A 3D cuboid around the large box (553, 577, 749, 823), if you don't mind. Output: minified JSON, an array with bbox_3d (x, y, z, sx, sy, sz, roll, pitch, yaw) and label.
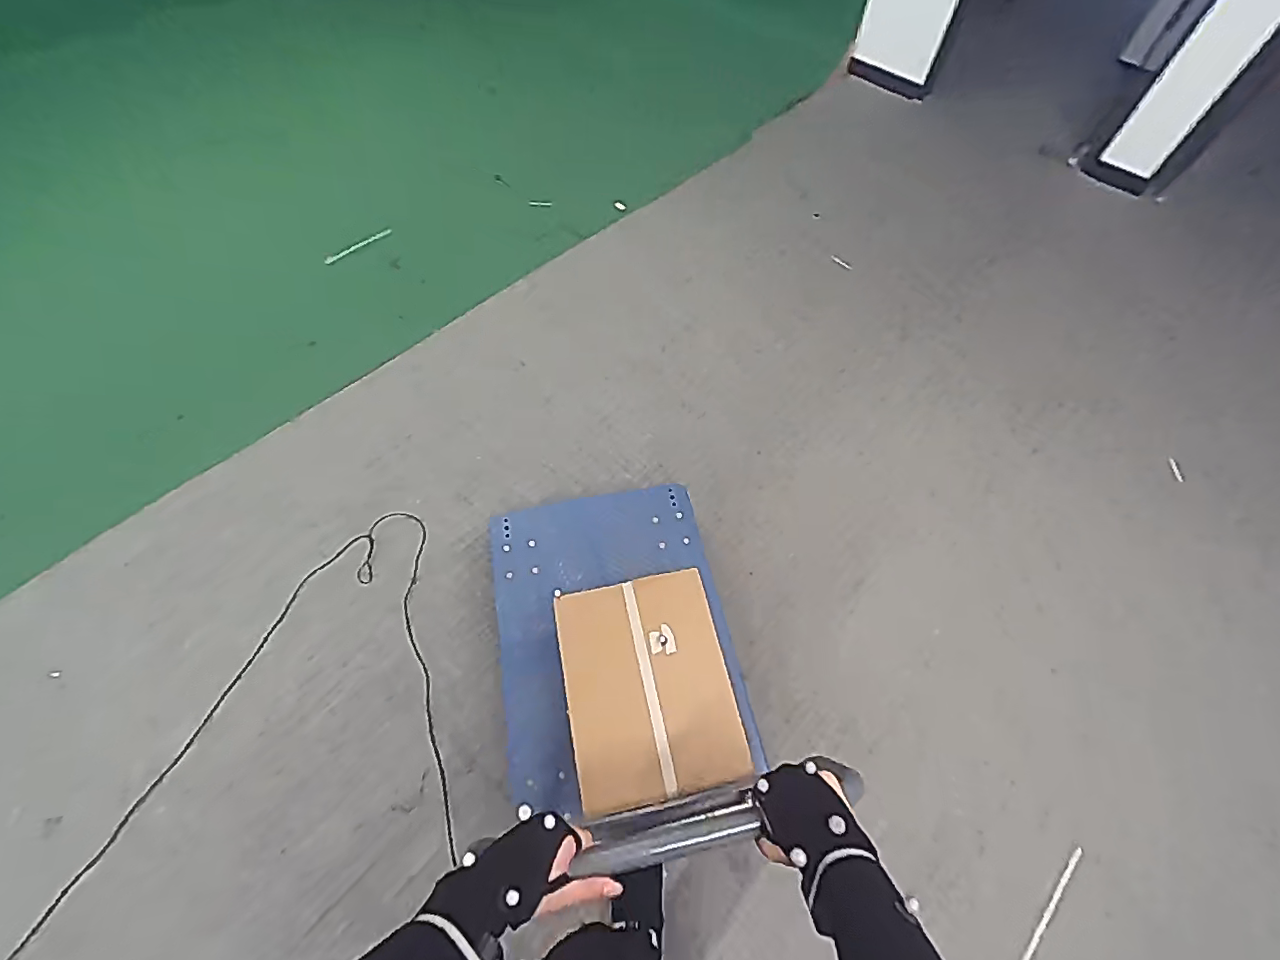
[{"bbox_3d":[0.009,0.480,1.183,0.320,0.320,0.408,-10,59,-7],"label":"large box"}]
